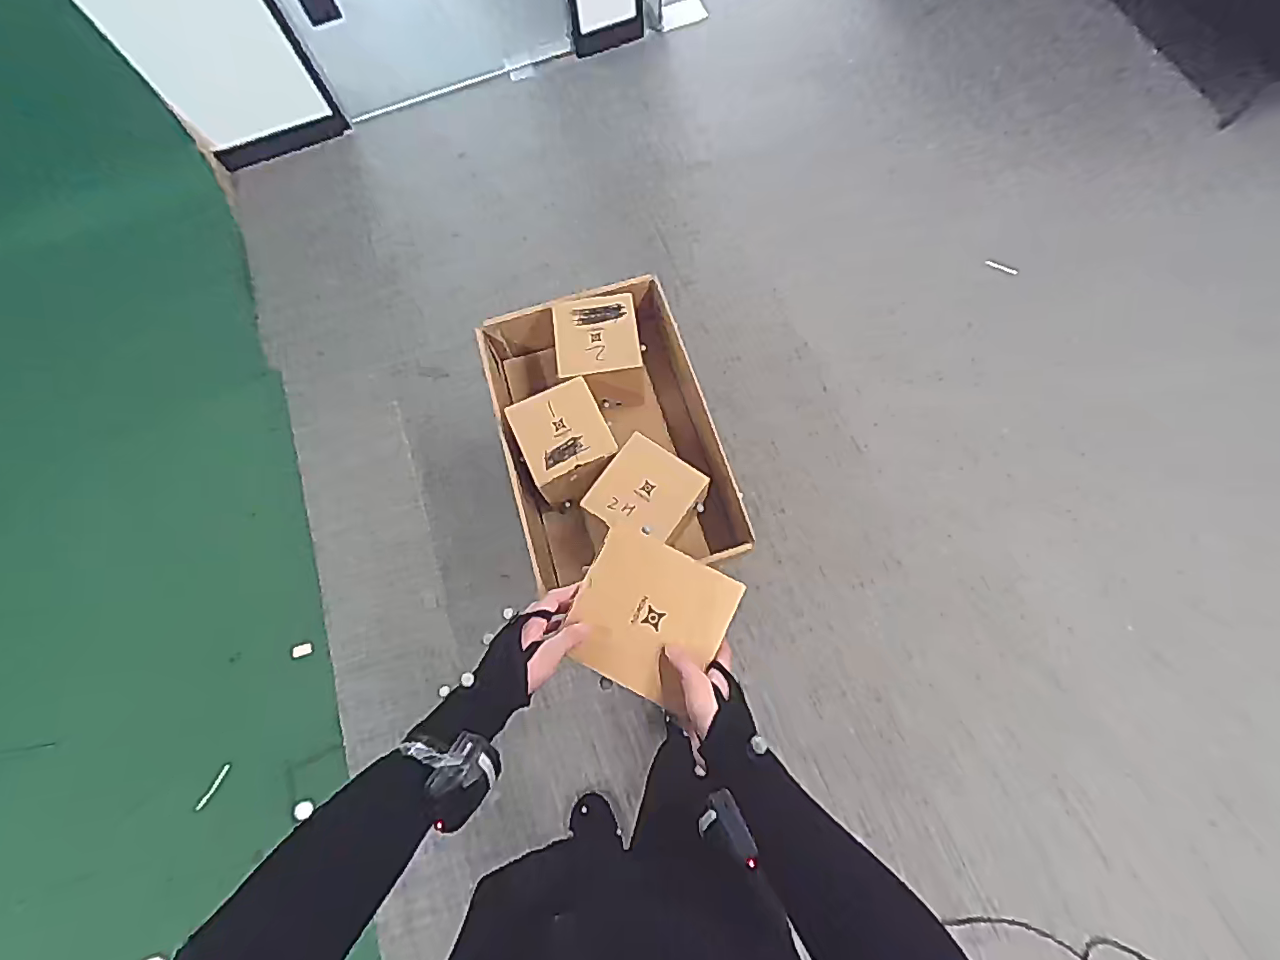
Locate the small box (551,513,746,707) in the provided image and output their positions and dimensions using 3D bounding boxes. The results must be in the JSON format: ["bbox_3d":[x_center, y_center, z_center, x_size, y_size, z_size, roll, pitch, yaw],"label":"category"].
[{"bbox_3d":[0.009,0.157,0.695,0.179,0.176,0.168,26,80,3],"label":"small box"}]
